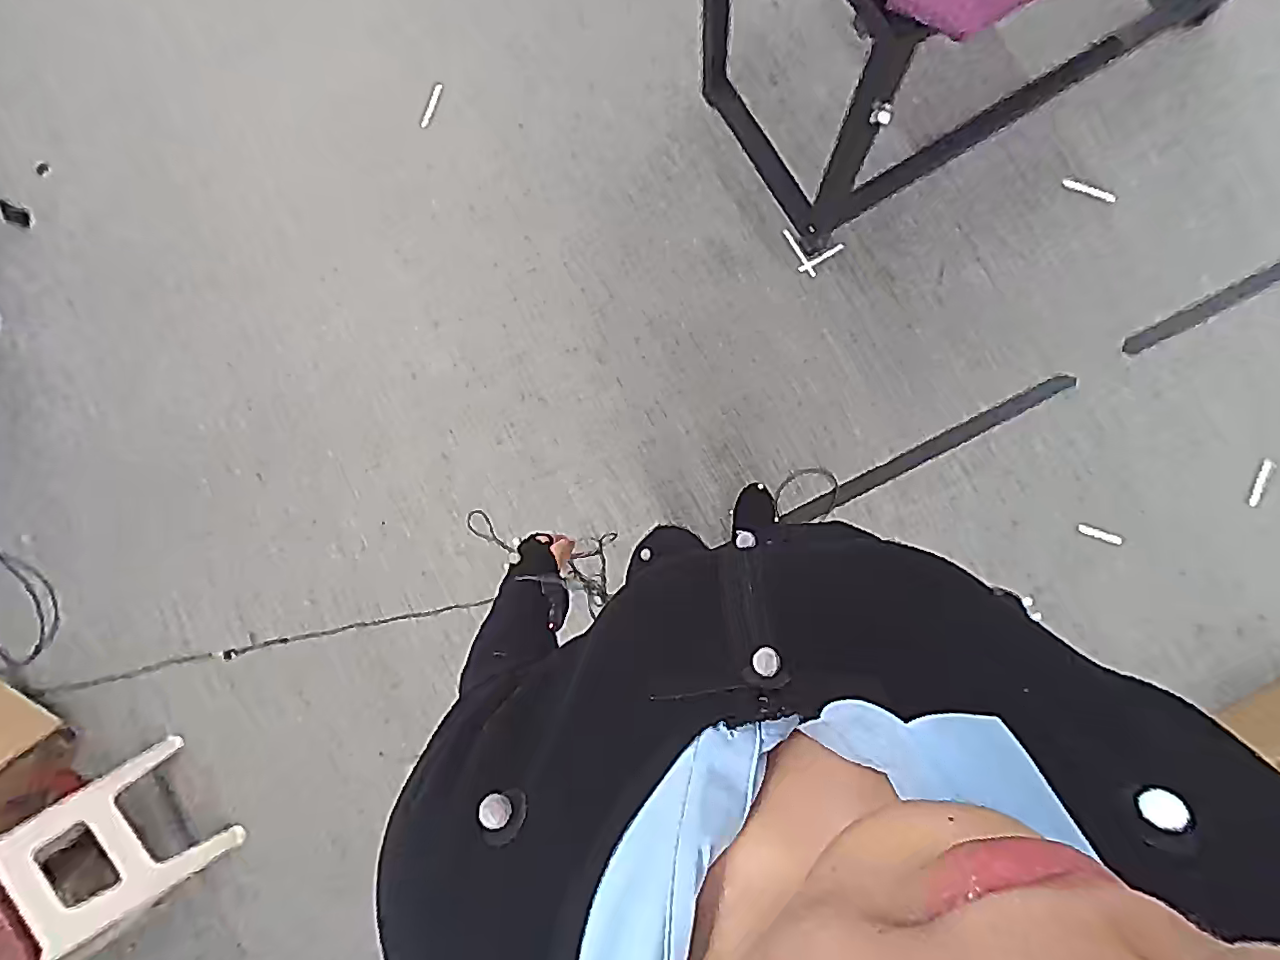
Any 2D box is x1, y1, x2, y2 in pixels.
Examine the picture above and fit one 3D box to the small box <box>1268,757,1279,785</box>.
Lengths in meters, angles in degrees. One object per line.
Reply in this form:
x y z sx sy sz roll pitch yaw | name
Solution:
1.583 0.697 1.189 0.168 0.176 0.179 -34 84 5 | small box
